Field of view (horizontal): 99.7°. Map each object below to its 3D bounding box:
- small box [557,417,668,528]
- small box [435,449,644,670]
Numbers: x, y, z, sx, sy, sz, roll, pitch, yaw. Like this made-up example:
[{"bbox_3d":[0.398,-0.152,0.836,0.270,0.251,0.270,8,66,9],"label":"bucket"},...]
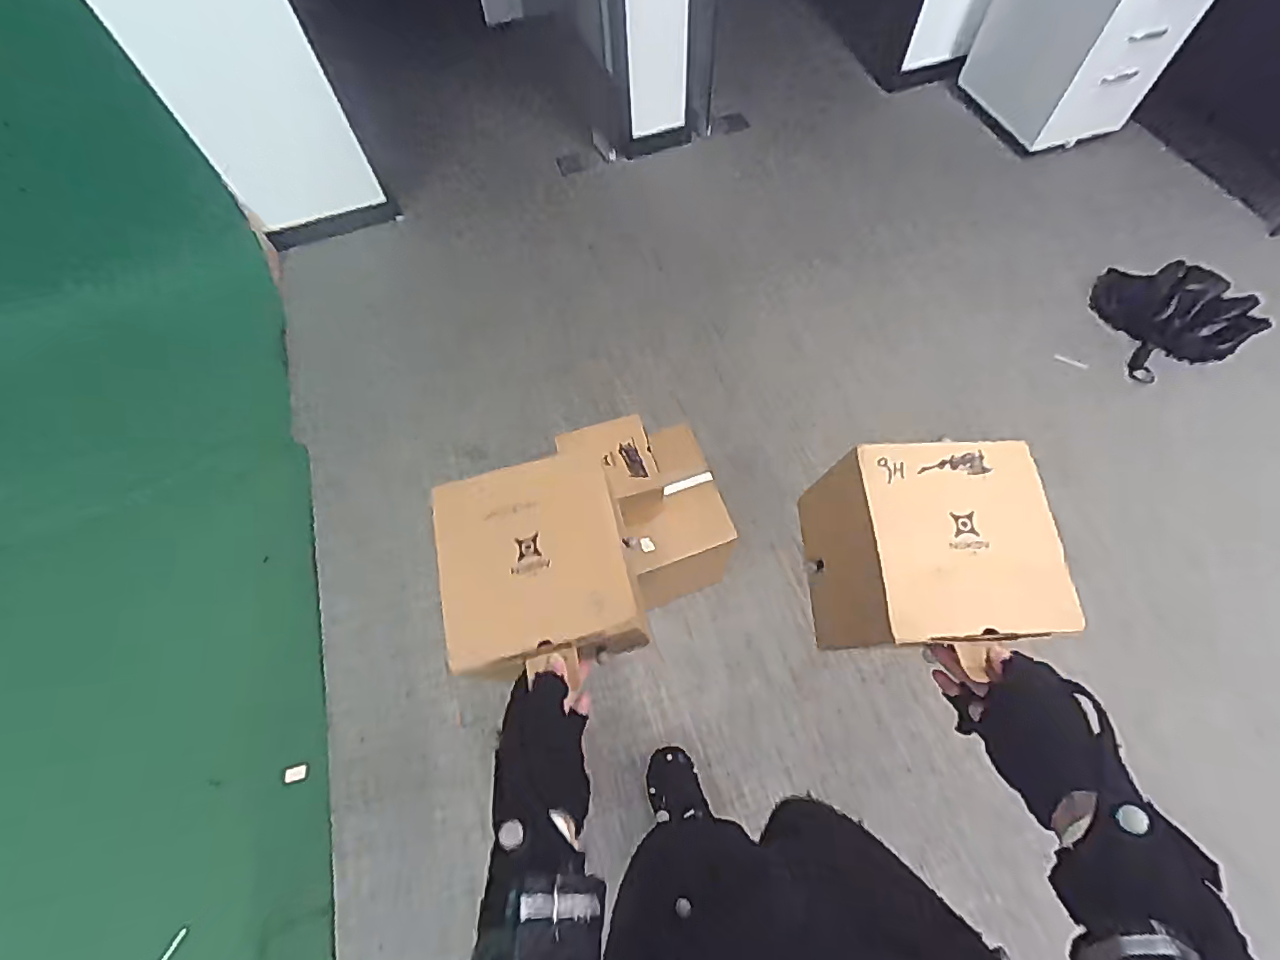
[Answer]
[{"bbox_3d":[-0.056,-0.001,1.108,0.179,0.176,0.168,-19,70,-7],"label":"small box"},{"bbox_3d":[-0.096,0.095,0.572,0.168,0.176,0.179,-15,66,-2],"label":"small box"}]
